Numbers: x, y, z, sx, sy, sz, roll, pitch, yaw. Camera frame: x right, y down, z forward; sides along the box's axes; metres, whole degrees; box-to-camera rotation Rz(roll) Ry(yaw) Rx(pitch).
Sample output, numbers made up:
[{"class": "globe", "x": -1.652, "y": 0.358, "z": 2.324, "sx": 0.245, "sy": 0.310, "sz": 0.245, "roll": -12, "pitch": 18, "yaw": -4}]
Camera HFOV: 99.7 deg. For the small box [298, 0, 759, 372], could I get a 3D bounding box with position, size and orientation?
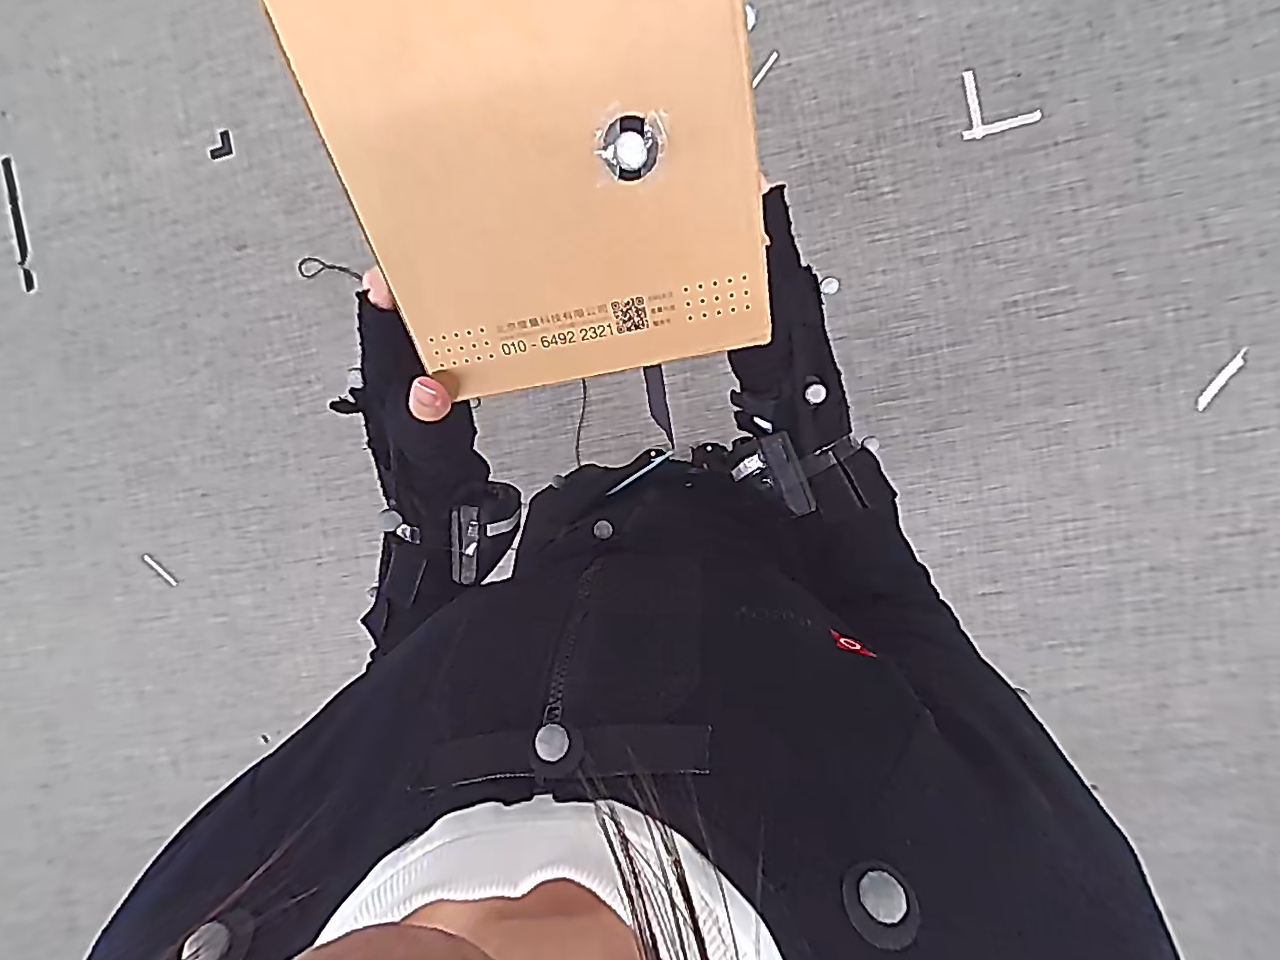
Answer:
[{"class": "small box", "x": -0.030, "y": -0.170, "z": 0.303, "sx": 0.168, "sy": 0.179, "sz": 0.176, "roll": -8, "pitch": 123, "yaw": 9}]
